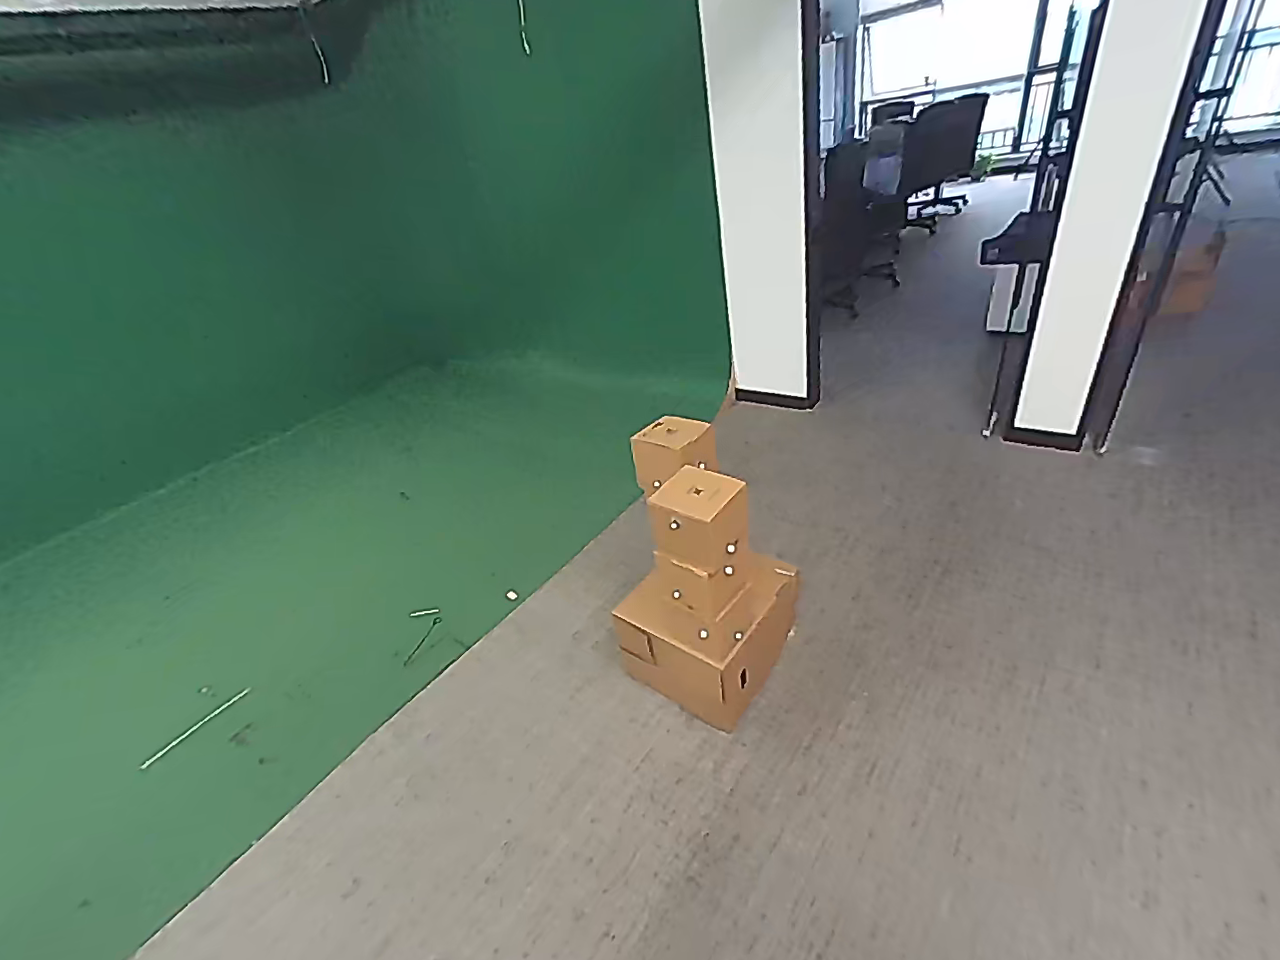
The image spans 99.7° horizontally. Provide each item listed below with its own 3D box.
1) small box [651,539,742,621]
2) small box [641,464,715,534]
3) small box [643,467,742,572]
[{"bbox_3d":[0.151,0.228,1.403,0.168,0.176,0.179,21,45,38],"label":"small box"},{"bbox_3d":[0.126,0.077,1.647,0.168,0.176,0.179,18,41,39],"label":"small box"},{"bbox_3d":[0.132,0.096,1.310,0.179,0.176,0.168,18,44,35],"label":"small box"}]
